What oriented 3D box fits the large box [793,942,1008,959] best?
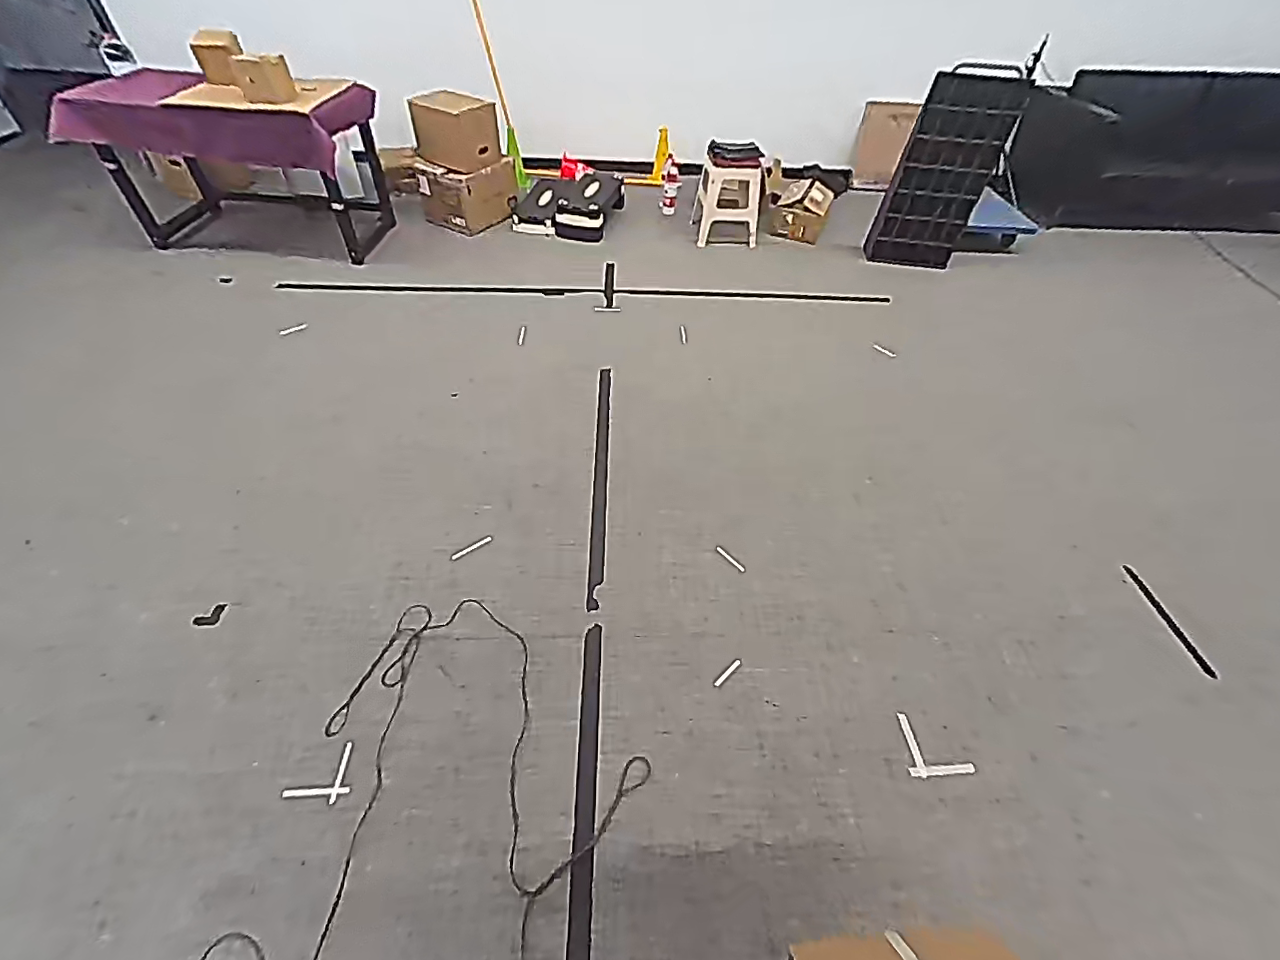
[{"bbox_3d":[0.389,0.805,0.580,0.320,0.408,0.320,-1,80,-4],"label":"large box"}]
